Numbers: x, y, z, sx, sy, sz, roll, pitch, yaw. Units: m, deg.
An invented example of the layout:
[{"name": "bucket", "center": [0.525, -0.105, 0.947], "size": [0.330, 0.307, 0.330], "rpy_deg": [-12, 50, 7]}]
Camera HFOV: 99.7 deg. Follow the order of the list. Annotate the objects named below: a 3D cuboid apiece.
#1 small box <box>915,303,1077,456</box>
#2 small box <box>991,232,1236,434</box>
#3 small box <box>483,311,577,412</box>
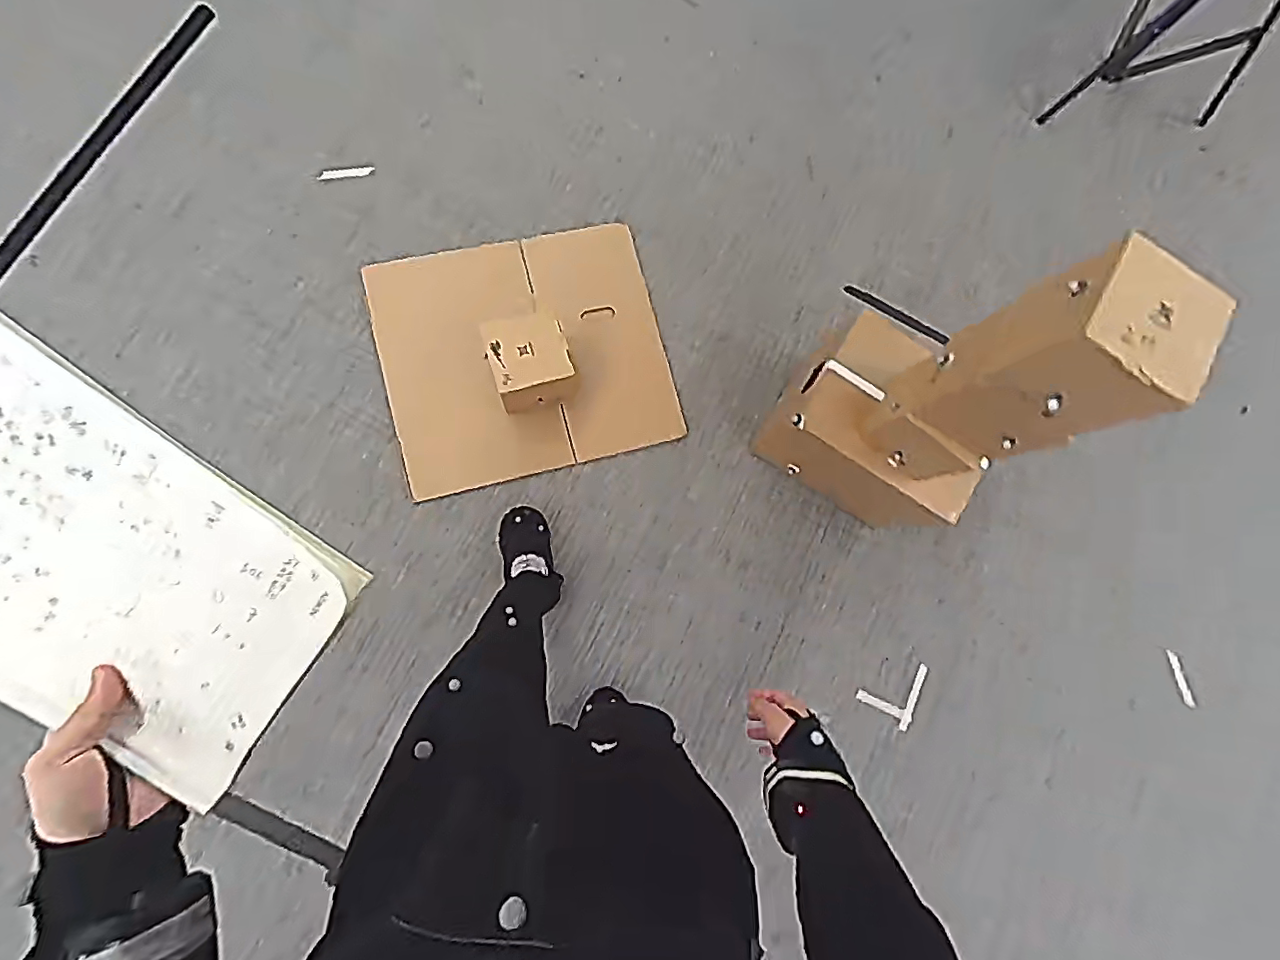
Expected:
[{"name": "small box", "center": [0.610, -0.155, 0.906], "size": [0.179, 0.176, 0.168], "rpy_deg": [31, 79, -1]}, {"name": "small box", "center": [0.635, -0.189, 0.746], "size": [0.168, 0.176, 0.179], "rpy_deg": [33, 79, -1]}, {"name": "small box", "center": [-0.258, -0.274, 1.282], "size": [0.179, 0.176, 0.168], "rpy_deg": [-17, 85, -11]}]
